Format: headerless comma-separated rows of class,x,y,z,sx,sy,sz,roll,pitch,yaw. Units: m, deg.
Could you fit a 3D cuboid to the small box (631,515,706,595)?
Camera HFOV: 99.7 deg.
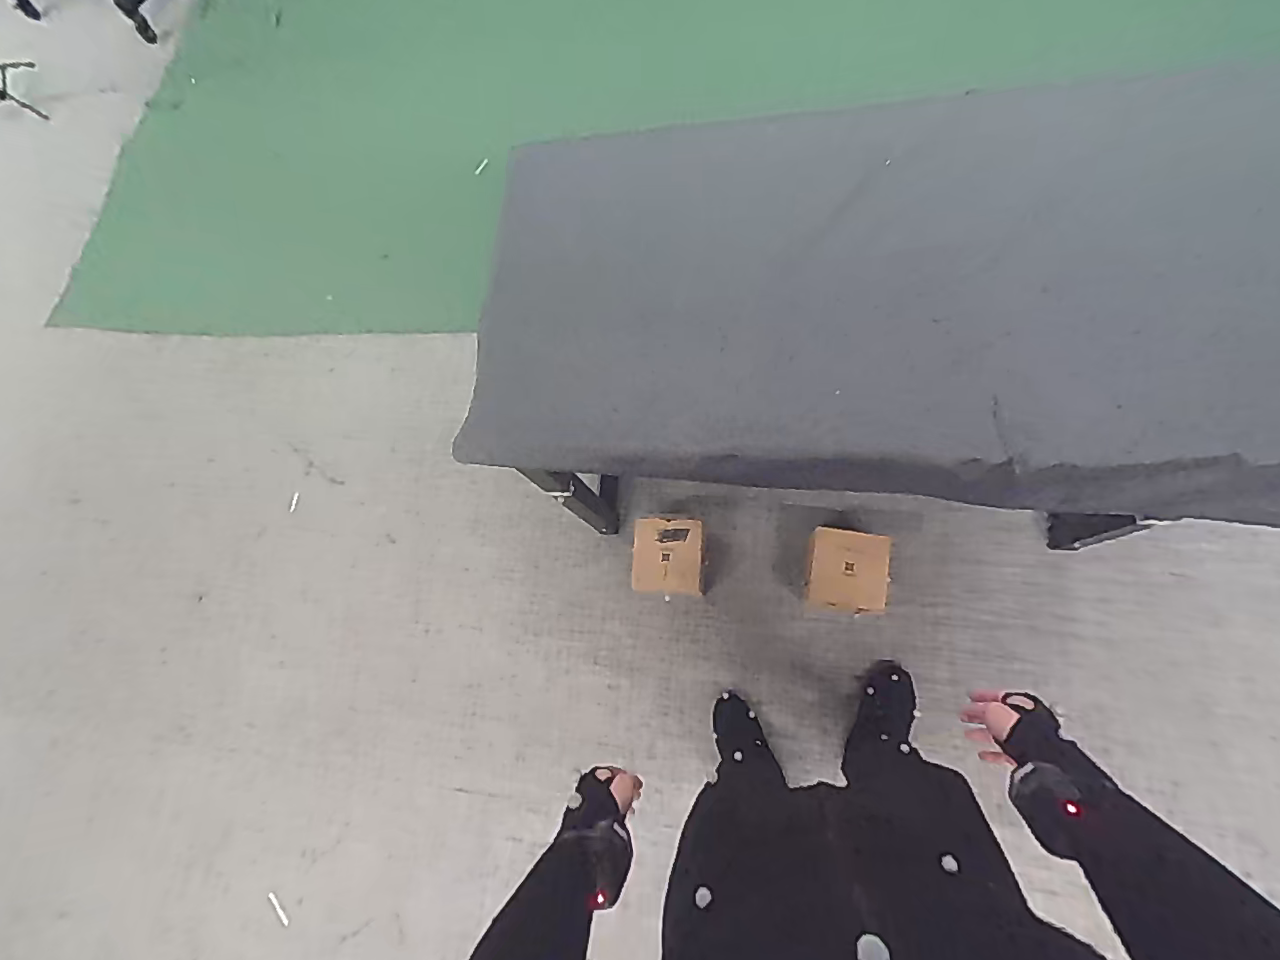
small box,0.078,0.193,1.372,0.168,0.176,0.179,0,75,11

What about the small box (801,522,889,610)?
small box,0.484,0.211,1.294,0.168,0.176,0.179,7,74,11
